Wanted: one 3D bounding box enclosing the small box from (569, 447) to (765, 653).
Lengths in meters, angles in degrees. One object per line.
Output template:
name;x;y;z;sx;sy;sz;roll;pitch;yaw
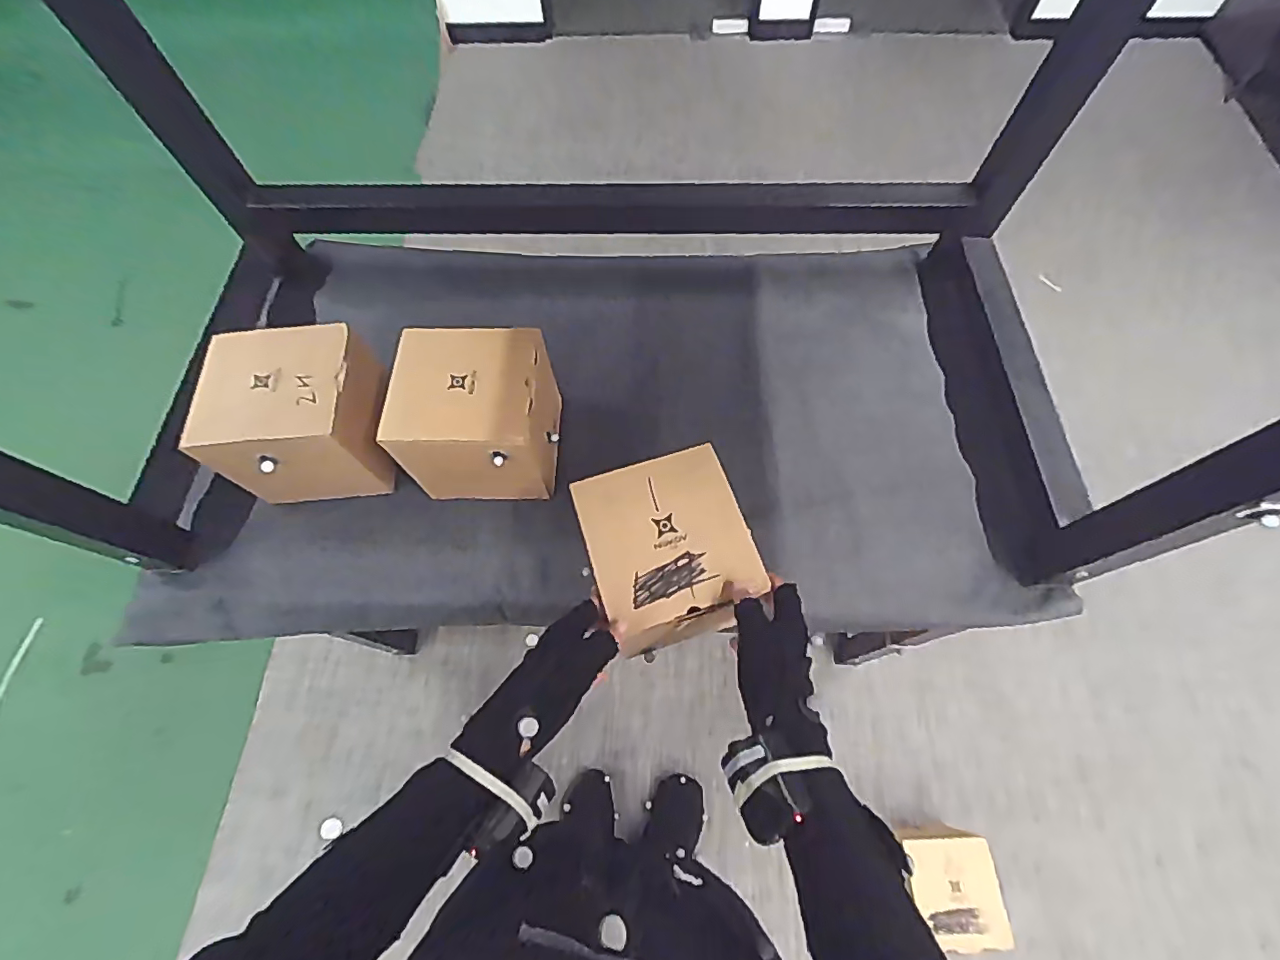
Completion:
small box;0.027;0.091;0.627;0.168;0.176;0.179;-15;65;-6
